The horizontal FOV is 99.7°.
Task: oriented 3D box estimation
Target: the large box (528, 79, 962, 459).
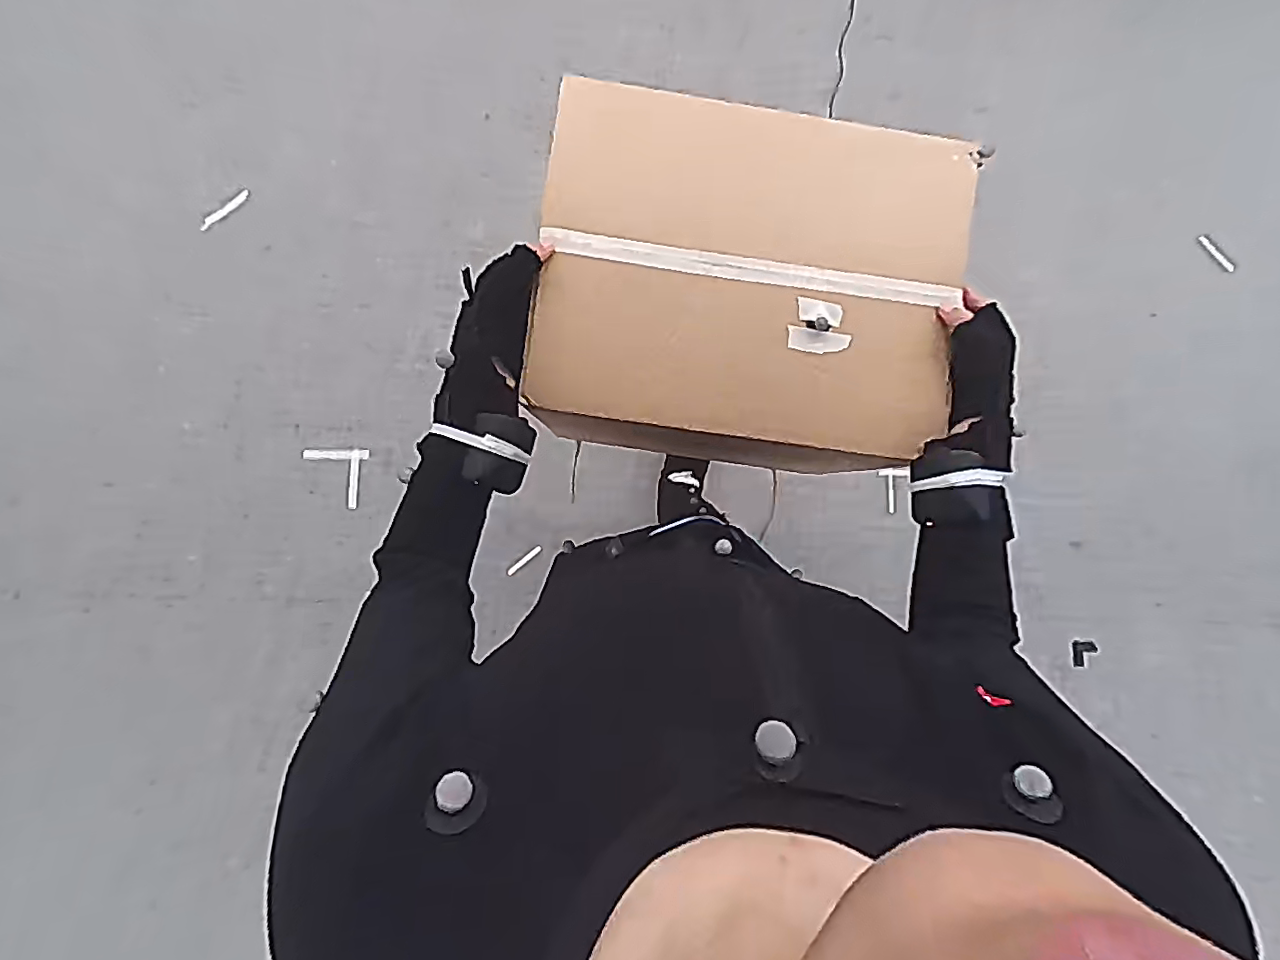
[{"bbox_3d":[0.097,-0.209,0.673,0.408,0.320,0.320,8,90,-3],"label":"large box"}]
